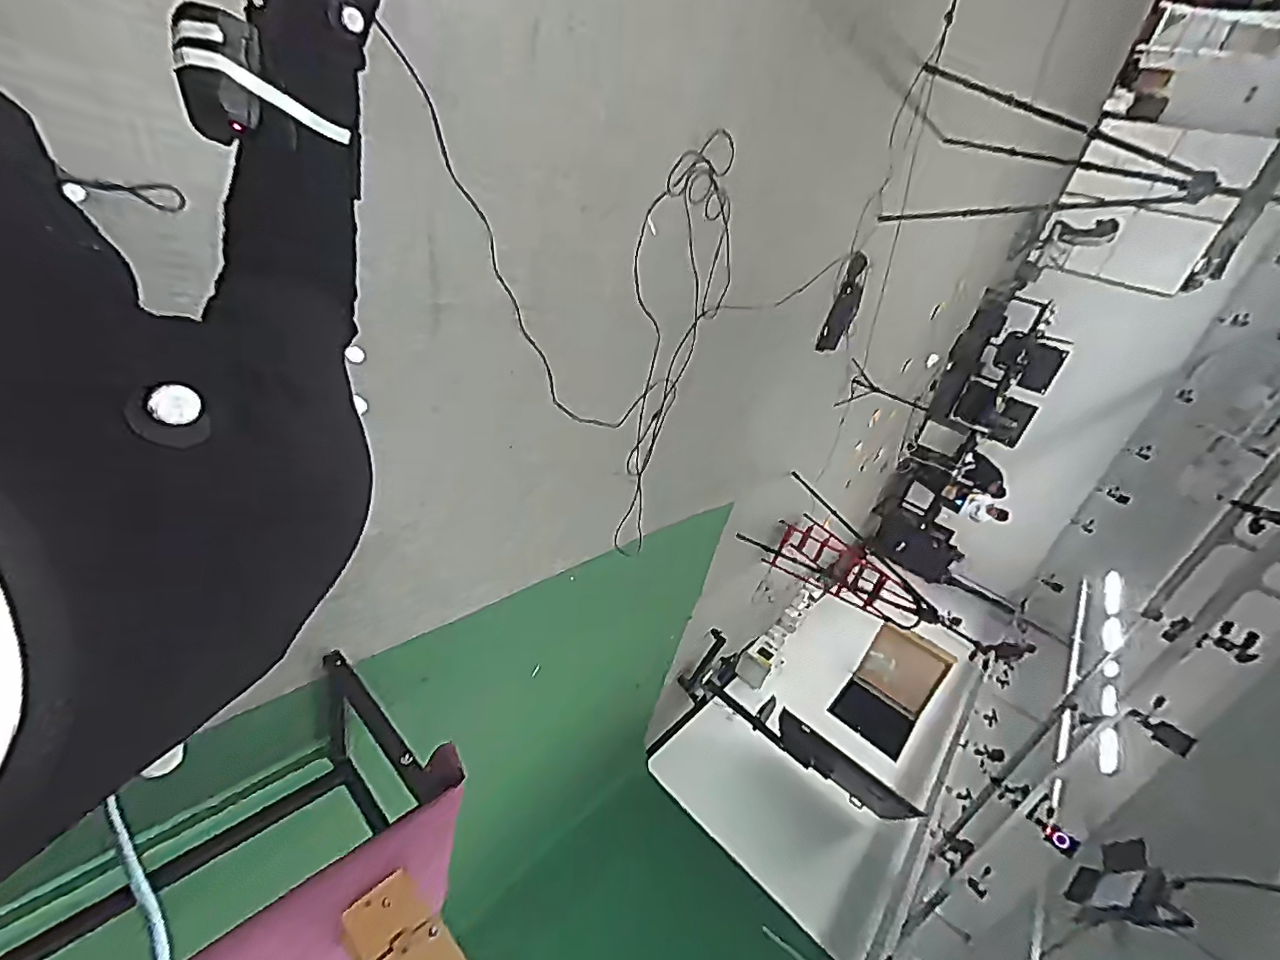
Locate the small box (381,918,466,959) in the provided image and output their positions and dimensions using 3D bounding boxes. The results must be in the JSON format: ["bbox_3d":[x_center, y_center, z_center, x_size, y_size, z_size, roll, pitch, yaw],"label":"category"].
[{"bbox_3d":[-0.560,1.273,1.371,0.168,0.176,0.179,-14,129,-48],"label":"small box"}]

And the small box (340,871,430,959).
[{"bbox_3d":[-0.688,1.212,1.456,0.168,0.176,0.179,-19,132,-46],"label":"small box"}]
